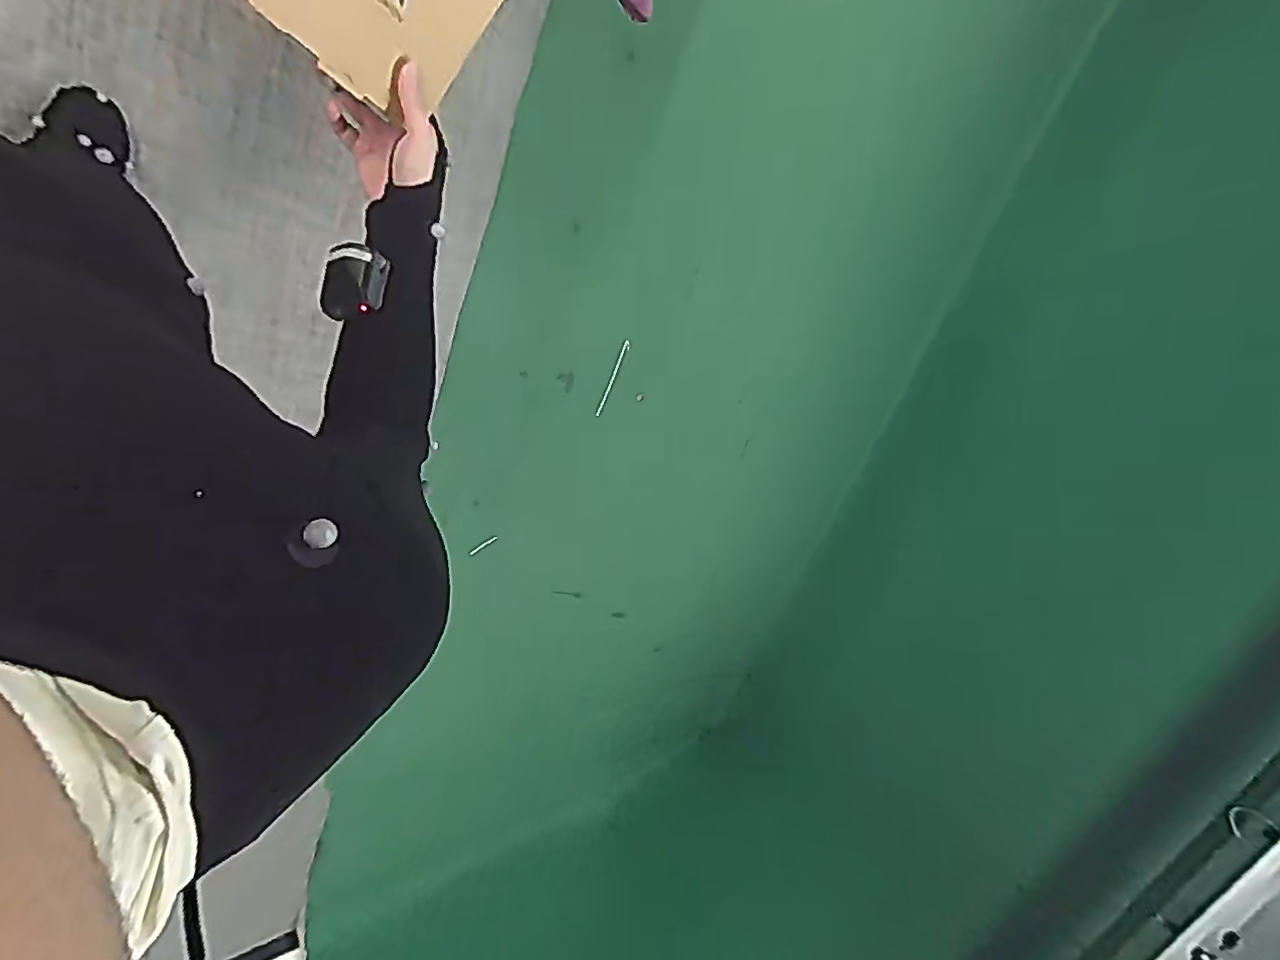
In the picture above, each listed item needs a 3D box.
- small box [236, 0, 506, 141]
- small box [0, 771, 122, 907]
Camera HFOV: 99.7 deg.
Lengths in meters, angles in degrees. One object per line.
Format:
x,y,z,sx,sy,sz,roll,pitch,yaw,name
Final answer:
-0.254,-0.453,0.463,0.179,0.176,0.168,-49,162,12,small box
-1.280,0.774,1.186,0.179,0.176,0.168,16,106,-50,small box
